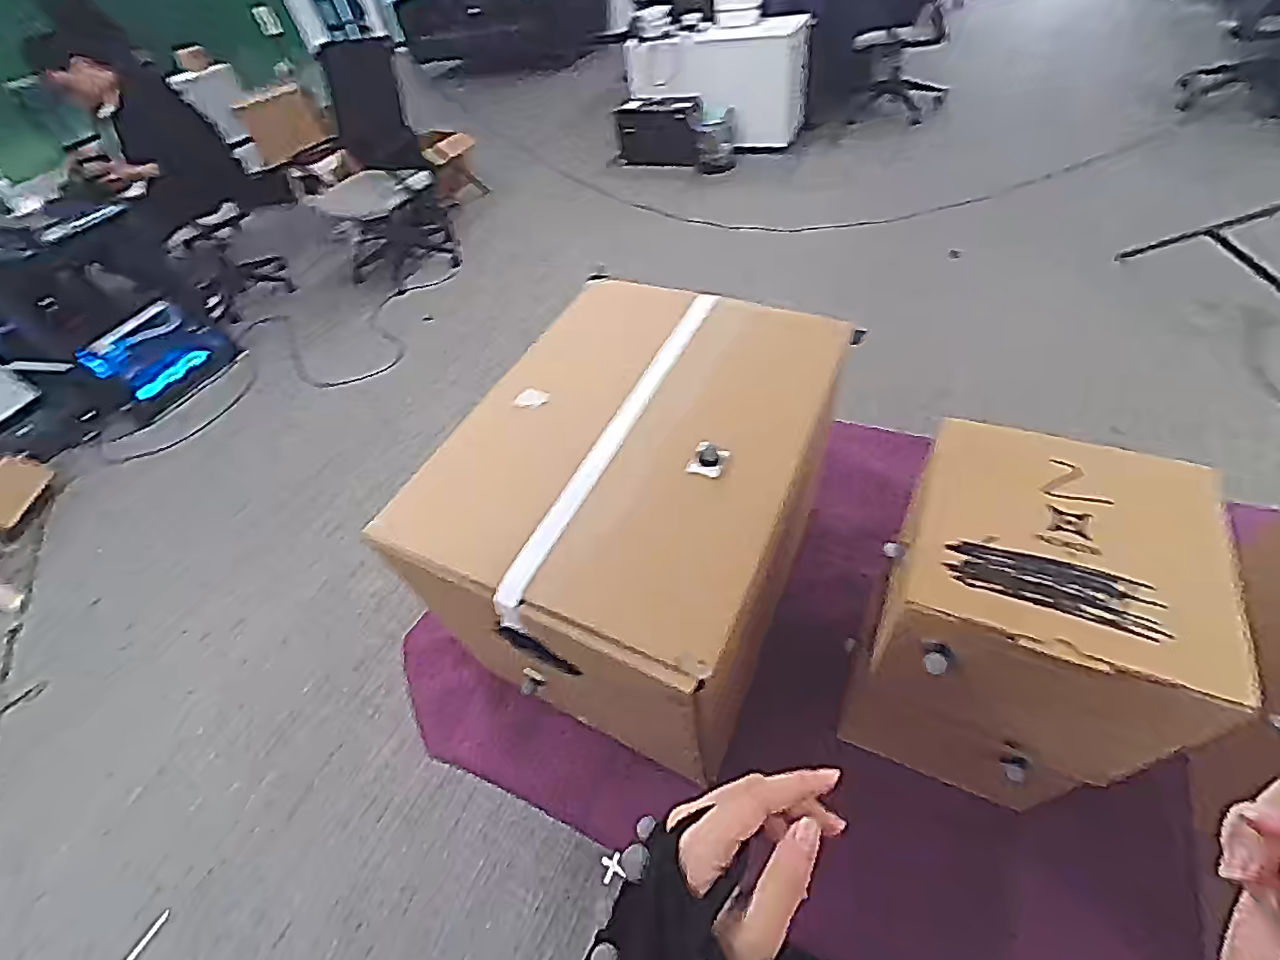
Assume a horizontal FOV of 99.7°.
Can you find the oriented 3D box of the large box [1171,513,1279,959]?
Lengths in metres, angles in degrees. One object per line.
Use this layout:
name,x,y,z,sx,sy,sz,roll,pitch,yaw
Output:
large box,0.632,0.227,0.345,0.320,0.320,0.408,16,54,23
